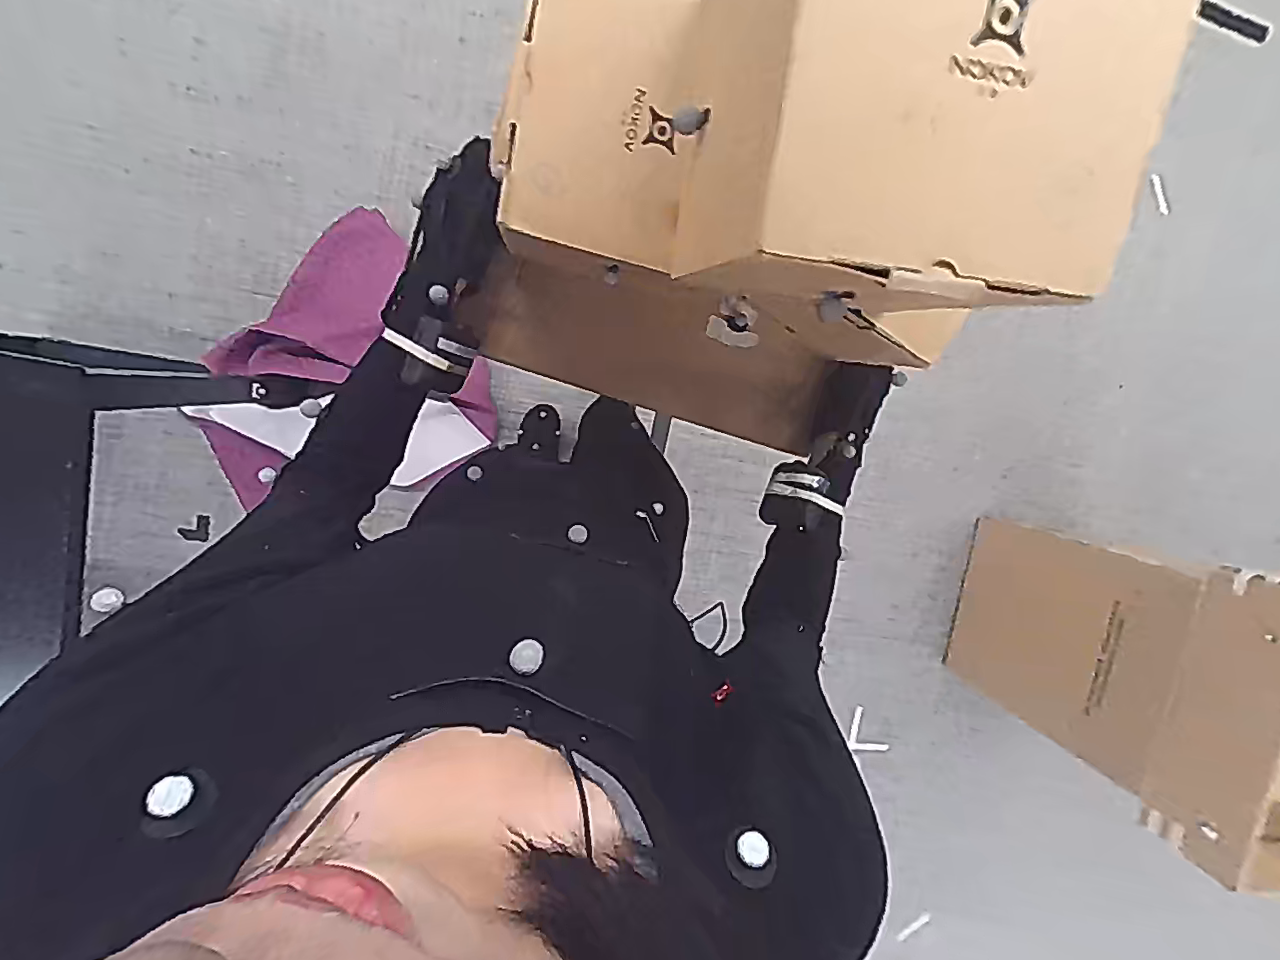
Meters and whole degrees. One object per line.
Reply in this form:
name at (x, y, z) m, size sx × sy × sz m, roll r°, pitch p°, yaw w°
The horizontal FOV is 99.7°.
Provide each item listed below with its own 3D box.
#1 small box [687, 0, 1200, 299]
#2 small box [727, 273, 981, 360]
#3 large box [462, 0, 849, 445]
small box at (0.128, -0.197, 0.287) m, size 0.168 × 0.176 × 0.179 m, roll 4°, pitch 105°, yaw -11°
small box at (0.189, -0.220, 0.462) m, size 0.168 × 0.176 × 0.179 m, roll 29°, pitch 97°, yaw -15°
large box at (0.028, -0.264, 0.679) m, size 0.408 × 0.320 × 0.320 m, roll 15°, pitch 102°, yaw -14°
